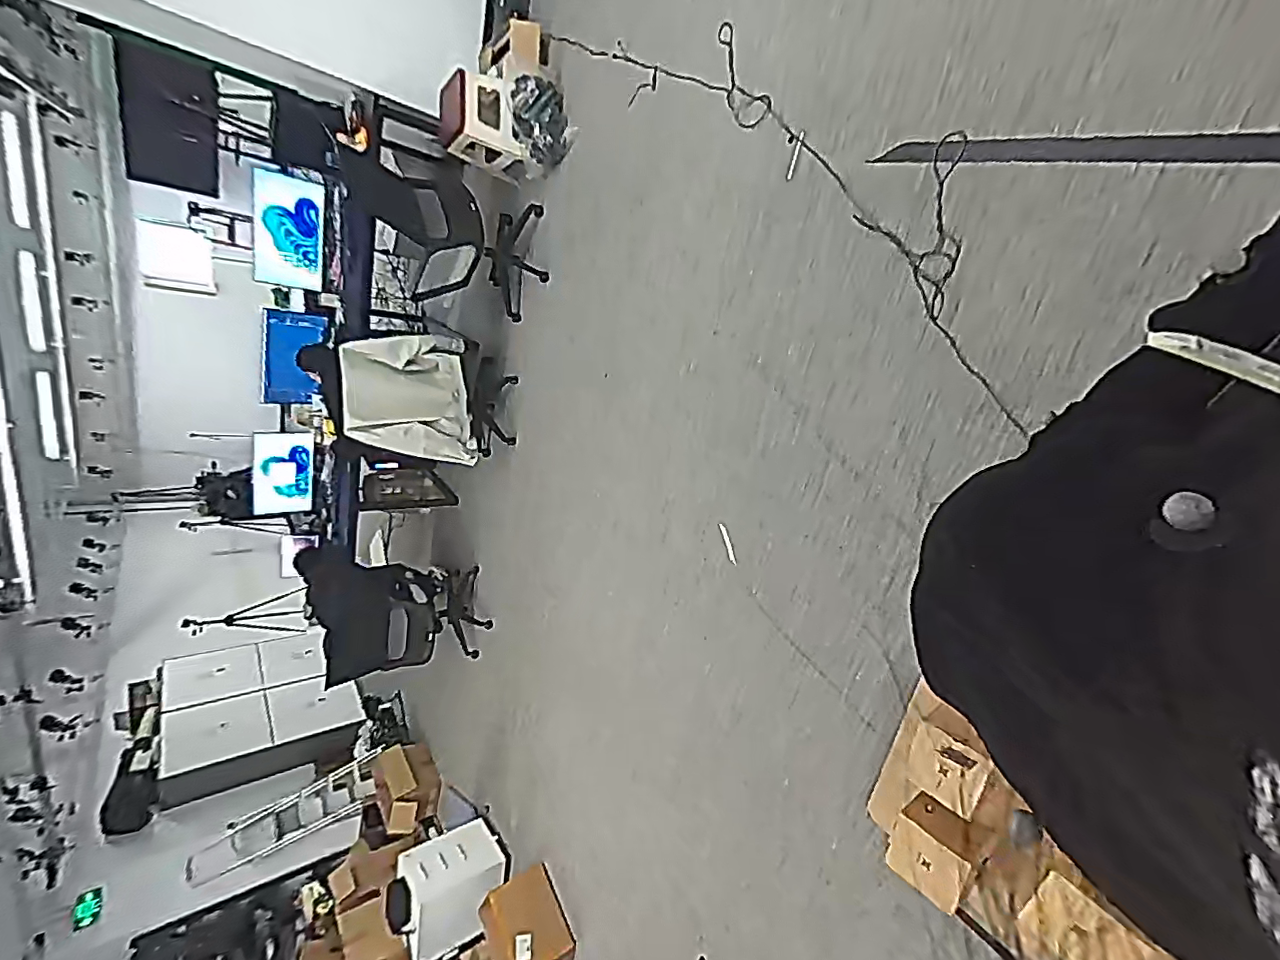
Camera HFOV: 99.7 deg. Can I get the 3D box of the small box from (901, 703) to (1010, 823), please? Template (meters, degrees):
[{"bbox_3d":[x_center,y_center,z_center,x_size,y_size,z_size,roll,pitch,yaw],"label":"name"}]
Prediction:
[{"bbox_3d":[0.785,0.688,1.340,0.168,0.176,0.179,26,112,46],"label":"small box"}]

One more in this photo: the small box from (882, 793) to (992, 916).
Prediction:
[{"bbox_3d":[0.761,0.942,1.388,0.179,0.176,0.168,24,111,46],"label":"small box"}]

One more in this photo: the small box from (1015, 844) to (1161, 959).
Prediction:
[{"bbox_3d":[0.954,0.922,1.153,0.179,0.176,0.168,34,117,42],"label":"small box"}]
